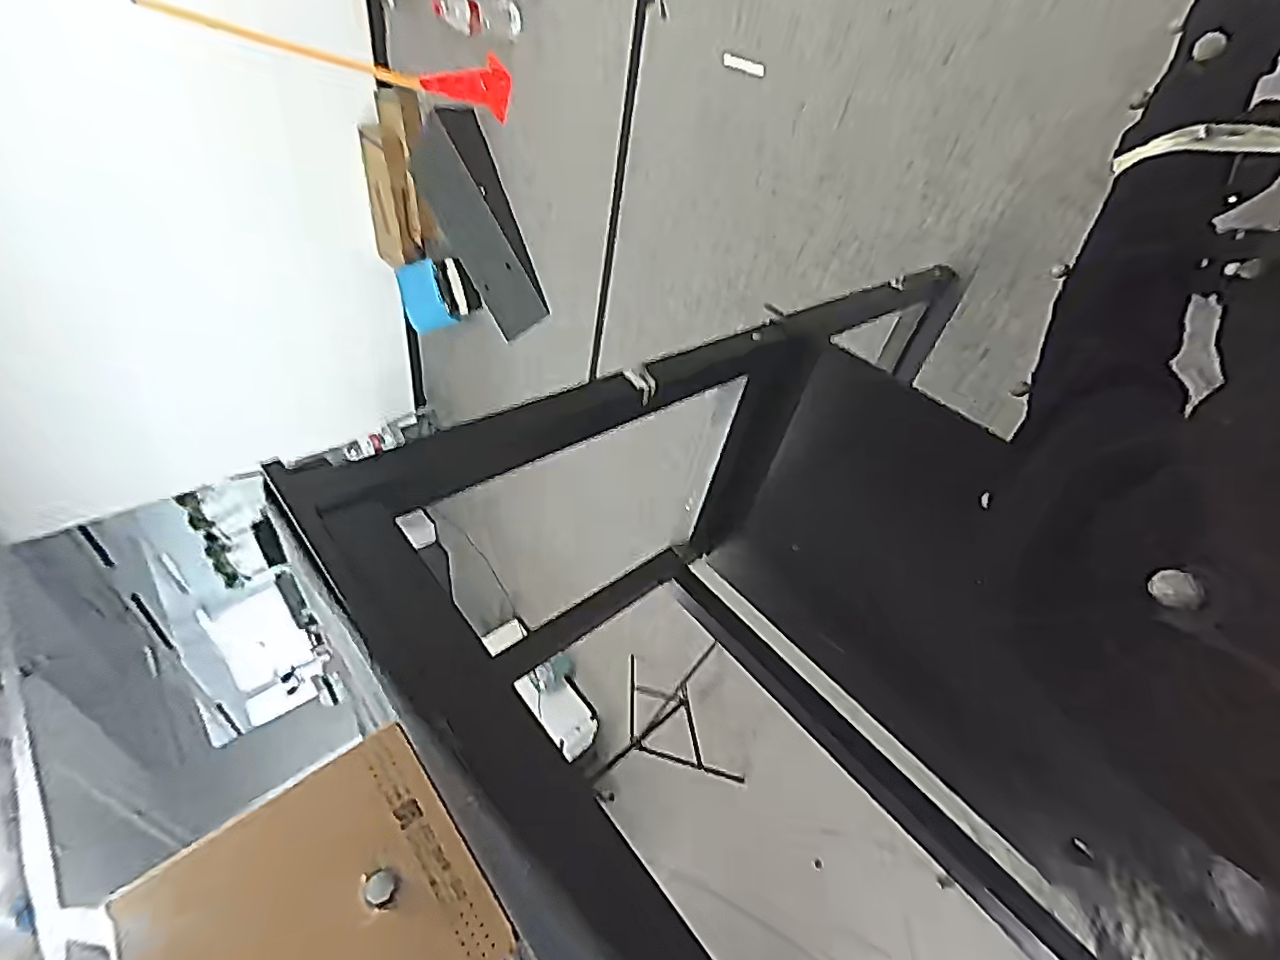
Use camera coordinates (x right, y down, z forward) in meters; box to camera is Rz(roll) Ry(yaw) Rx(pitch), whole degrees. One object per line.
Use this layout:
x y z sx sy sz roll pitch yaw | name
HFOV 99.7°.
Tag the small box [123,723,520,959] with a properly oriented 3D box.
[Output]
-0.200 0.311 0.380 0.168 0.176 0.179 46 141 23 | small box
